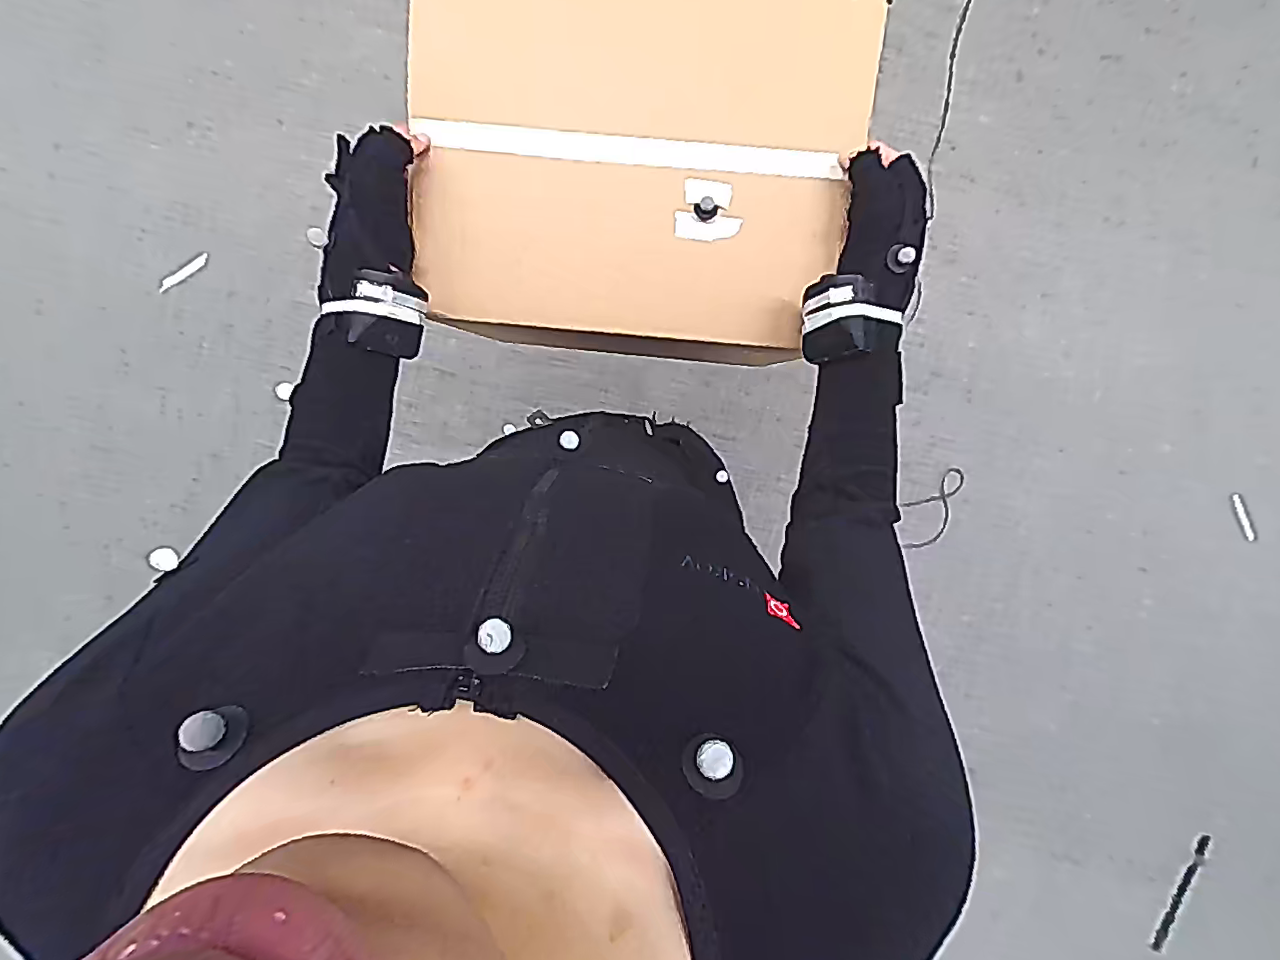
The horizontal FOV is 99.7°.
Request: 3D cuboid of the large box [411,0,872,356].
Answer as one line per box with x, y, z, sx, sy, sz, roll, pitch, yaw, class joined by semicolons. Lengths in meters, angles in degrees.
-0.007;-0.322;0.631;0.408;0.320;0.320;4;100;-1;large box
